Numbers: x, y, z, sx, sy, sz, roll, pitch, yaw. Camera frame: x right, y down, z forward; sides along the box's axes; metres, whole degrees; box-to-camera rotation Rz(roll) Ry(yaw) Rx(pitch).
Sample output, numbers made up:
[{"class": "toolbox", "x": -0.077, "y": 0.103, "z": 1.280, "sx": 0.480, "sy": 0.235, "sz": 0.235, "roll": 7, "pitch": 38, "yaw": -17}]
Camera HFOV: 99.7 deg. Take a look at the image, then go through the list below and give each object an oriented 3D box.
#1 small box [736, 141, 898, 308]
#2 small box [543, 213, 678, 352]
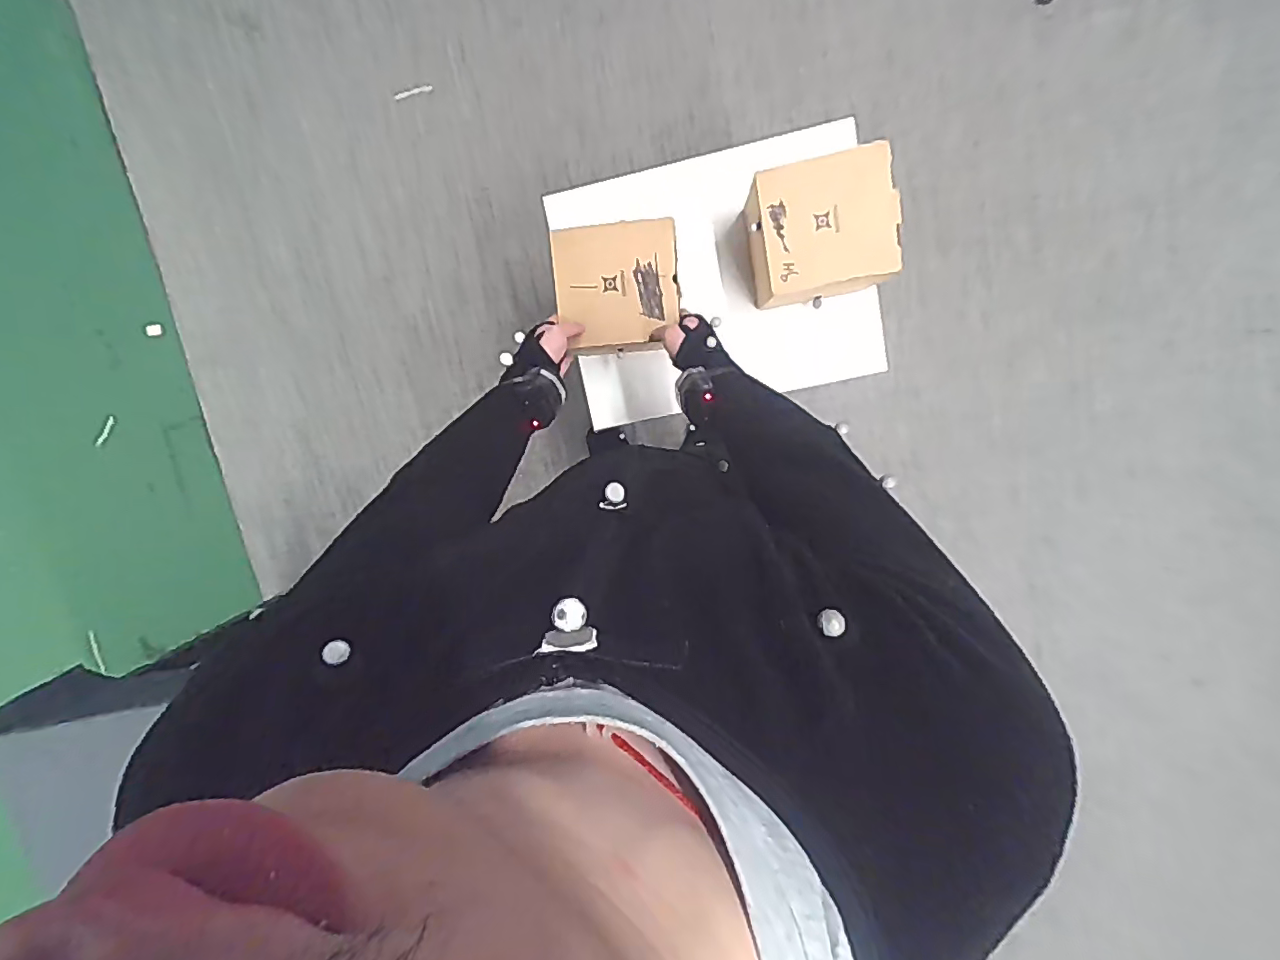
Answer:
[{"class": "small box", "x": 0.248, "y": -0.358, "z": 0.789, "sx": 0.179, "sy": 0.176, "sz": 0.168, "roll": -10, "pitch": 99, "yaw": 4}, {"class": "small box", "x": -0.037, "y": -0.286, "z": 0.814, "sx": 0.179, "sy": 0.176, "sz": 0.168, "roll": -4, "pitch": 99, "yaw": 3}]
